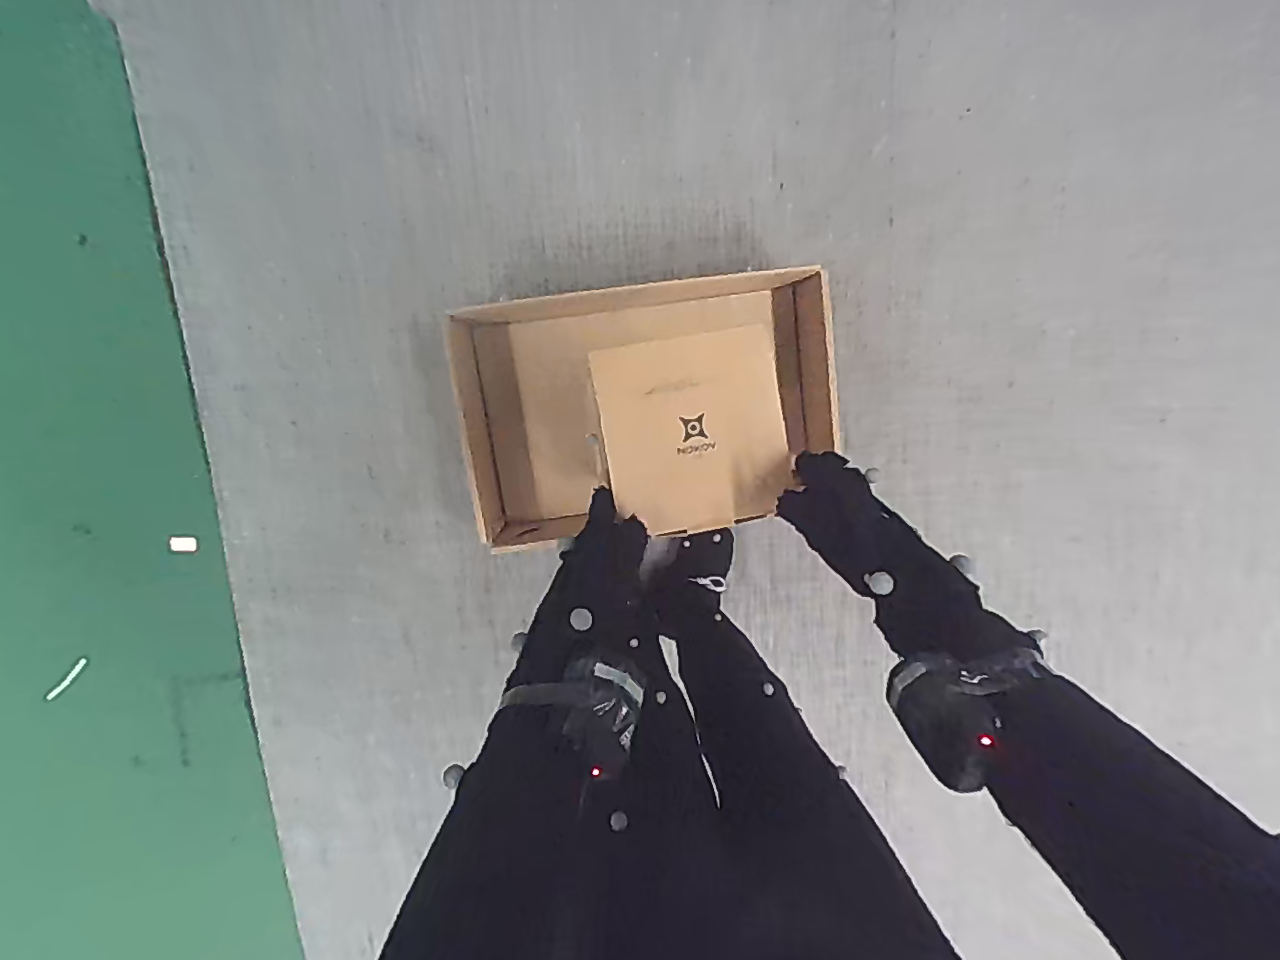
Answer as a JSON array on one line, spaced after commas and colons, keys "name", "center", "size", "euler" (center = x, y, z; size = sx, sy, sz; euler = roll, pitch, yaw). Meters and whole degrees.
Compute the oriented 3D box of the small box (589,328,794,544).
[{"name": "small box", "center": [0.043, -0.042, 0.570], "size": [0.168, 0.176, 0.179], "euler": [-11, 91, -5]}]
